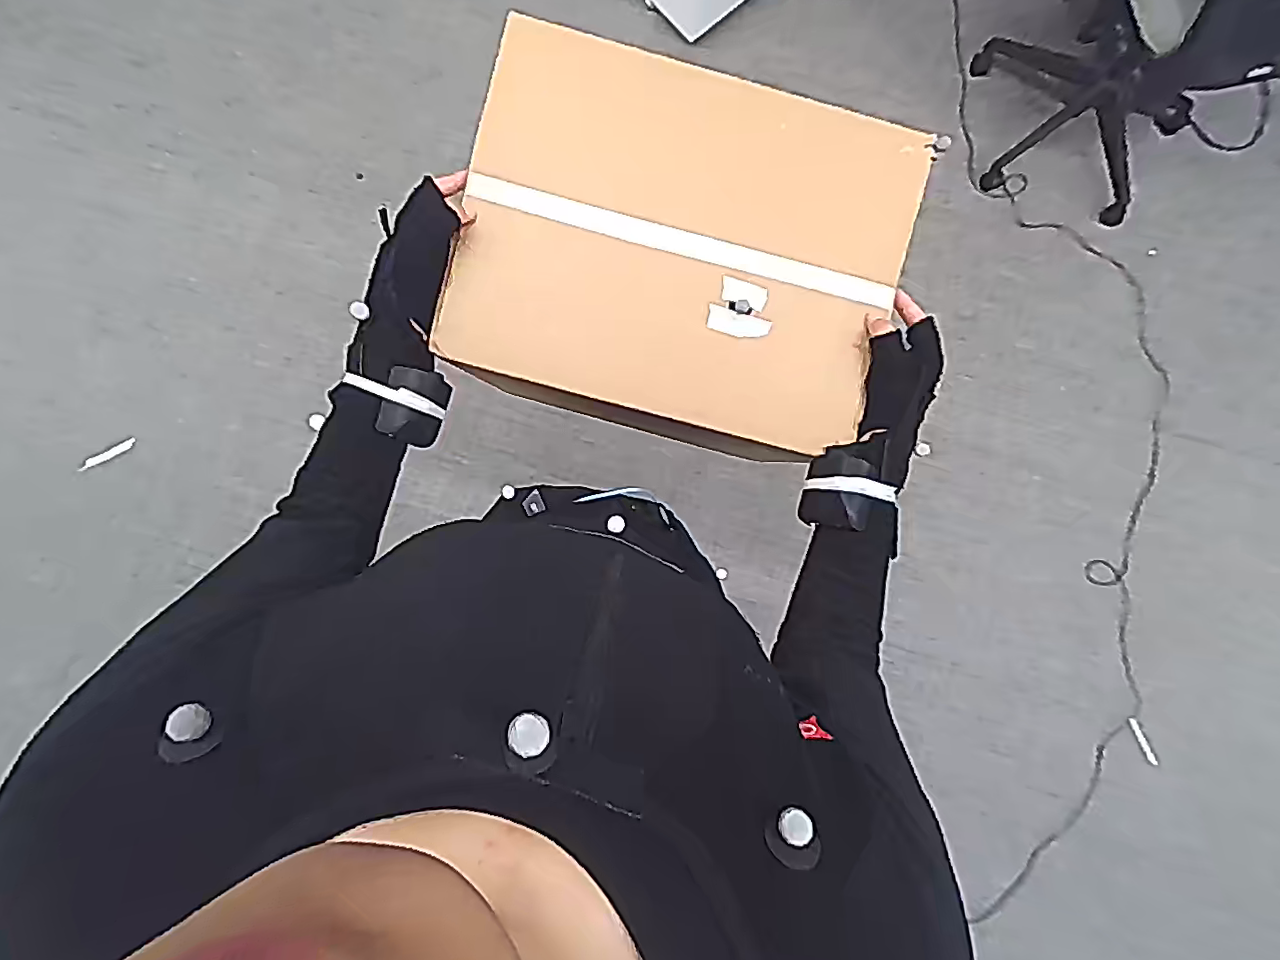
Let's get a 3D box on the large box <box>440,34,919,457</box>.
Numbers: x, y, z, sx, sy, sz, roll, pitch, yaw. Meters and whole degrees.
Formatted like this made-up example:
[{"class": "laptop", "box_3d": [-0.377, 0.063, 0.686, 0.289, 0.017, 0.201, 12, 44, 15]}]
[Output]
[{"class": "large box", "box_3d": [0.031, -0.223, 0.657, 0.408, 0.320, 0.320, 15, 93, -3]}]
